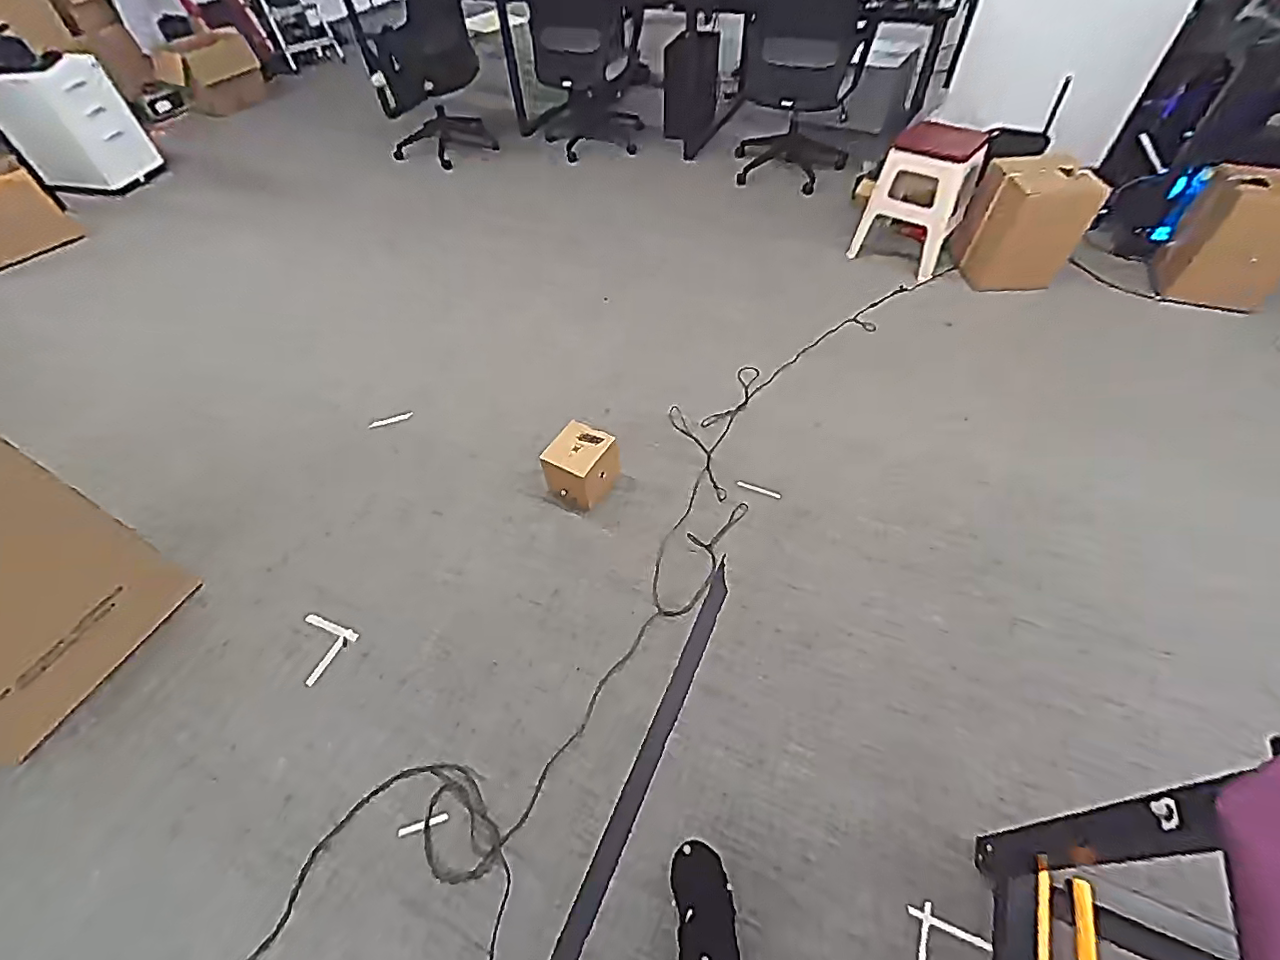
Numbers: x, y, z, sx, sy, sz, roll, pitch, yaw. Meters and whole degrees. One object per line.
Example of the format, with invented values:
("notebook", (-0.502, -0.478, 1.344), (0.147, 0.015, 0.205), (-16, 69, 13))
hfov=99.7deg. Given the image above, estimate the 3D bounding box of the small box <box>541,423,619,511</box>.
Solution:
("small box", (-0.177, -0.037, 1.669), (0.168, 0.176, 0.179), (24, 57, 22))
